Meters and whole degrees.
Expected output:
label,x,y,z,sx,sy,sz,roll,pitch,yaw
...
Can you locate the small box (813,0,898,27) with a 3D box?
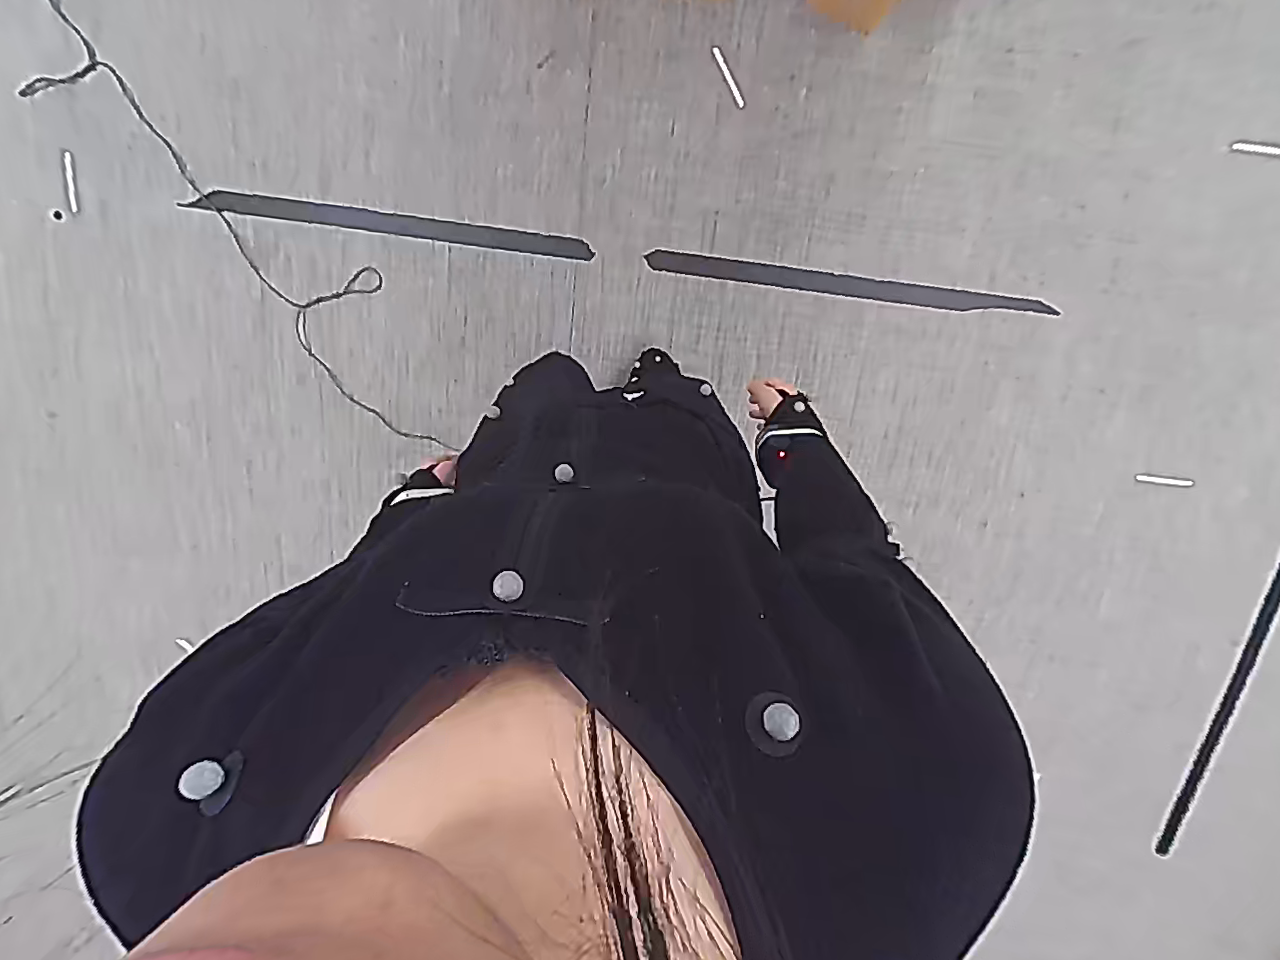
label,x,y,z,sx,sy,sz,roll,pitch,yaw
small box,0.485,-1.096,1.121,0.179,0.176,0.168,23,104,-3
